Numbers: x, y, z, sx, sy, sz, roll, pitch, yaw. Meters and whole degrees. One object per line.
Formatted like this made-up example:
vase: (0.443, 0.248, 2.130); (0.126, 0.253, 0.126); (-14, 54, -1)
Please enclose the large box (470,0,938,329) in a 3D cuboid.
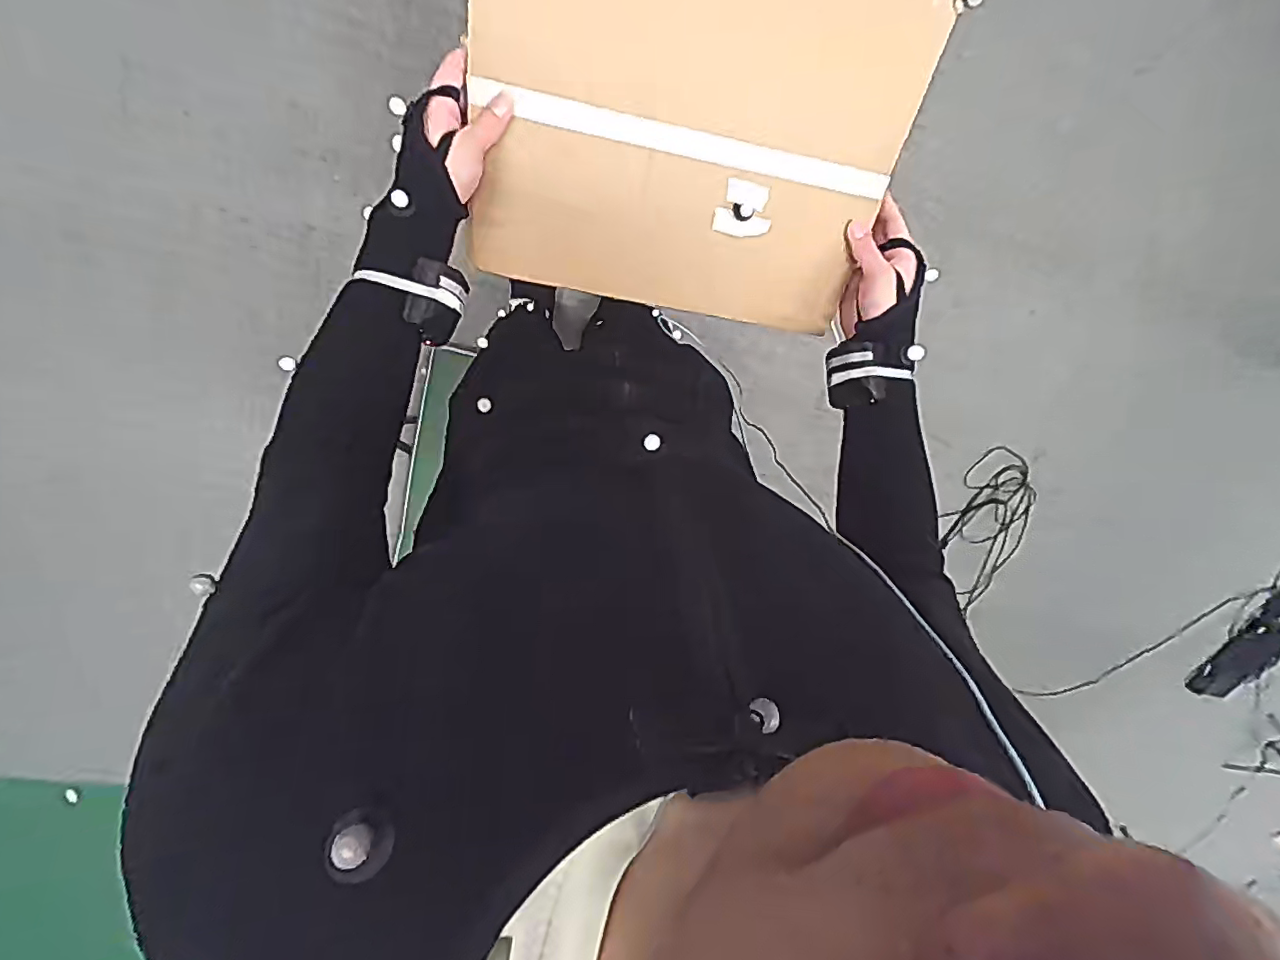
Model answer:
large box: (0.029, -0.406, 0.643); (0.408, 0.320, 0.320); (6, 126, -9)
